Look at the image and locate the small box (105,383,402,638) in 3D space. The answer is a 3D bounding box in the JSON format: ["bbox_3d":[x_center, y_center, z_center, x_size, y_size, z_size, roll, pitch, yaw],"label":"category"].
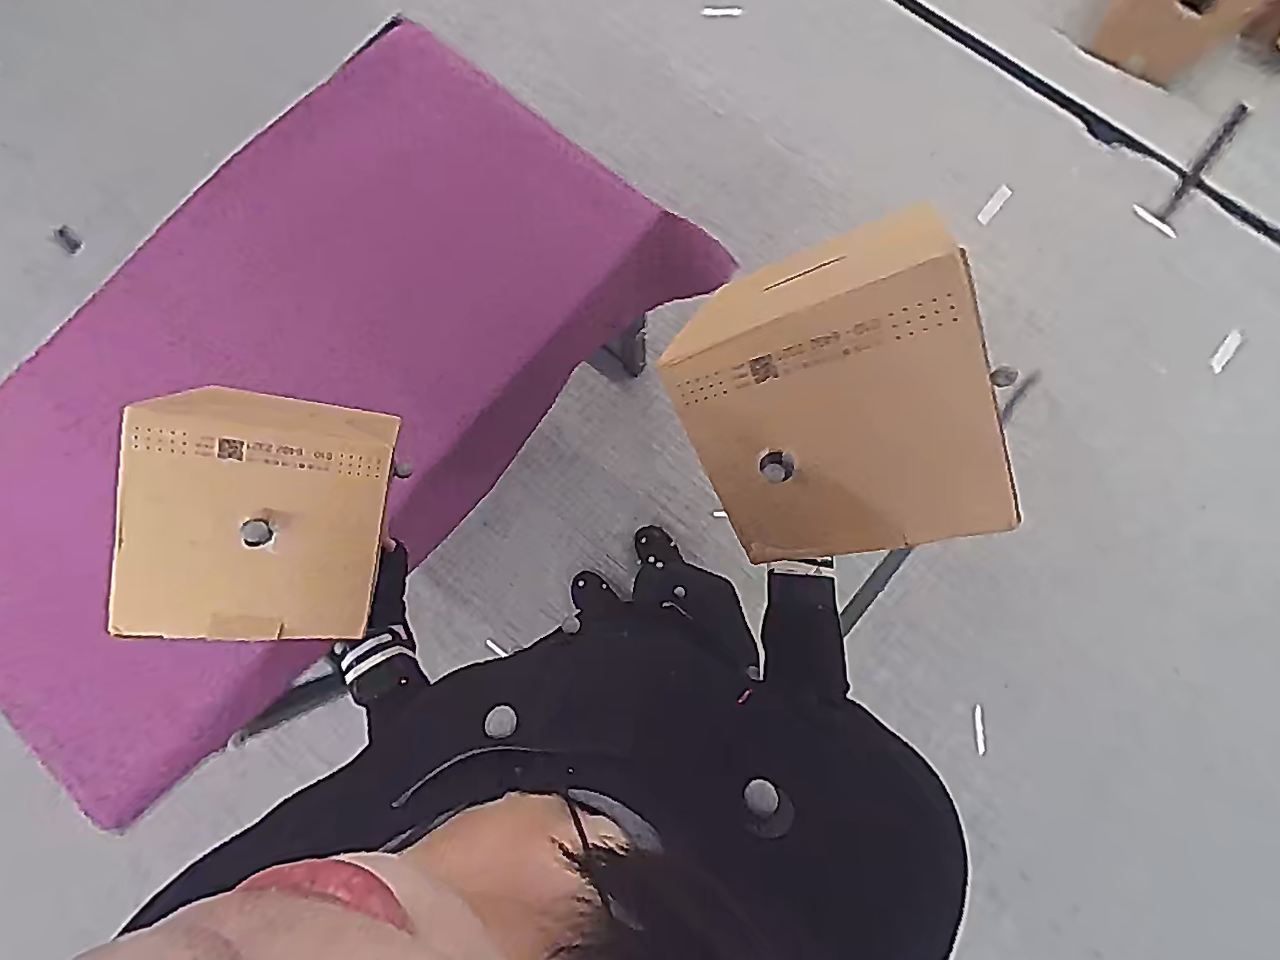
[{"bbox_3d":[-0.305,0.016,0.461,0.168,0.179,0.176,10,100,-24],"label":"small box"}]

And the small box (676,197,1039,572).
[{"bbox_3d":[0.143,-0.065,0.368,0.168,0.179,0.176,-12,118,30],"label":"small box"}]
